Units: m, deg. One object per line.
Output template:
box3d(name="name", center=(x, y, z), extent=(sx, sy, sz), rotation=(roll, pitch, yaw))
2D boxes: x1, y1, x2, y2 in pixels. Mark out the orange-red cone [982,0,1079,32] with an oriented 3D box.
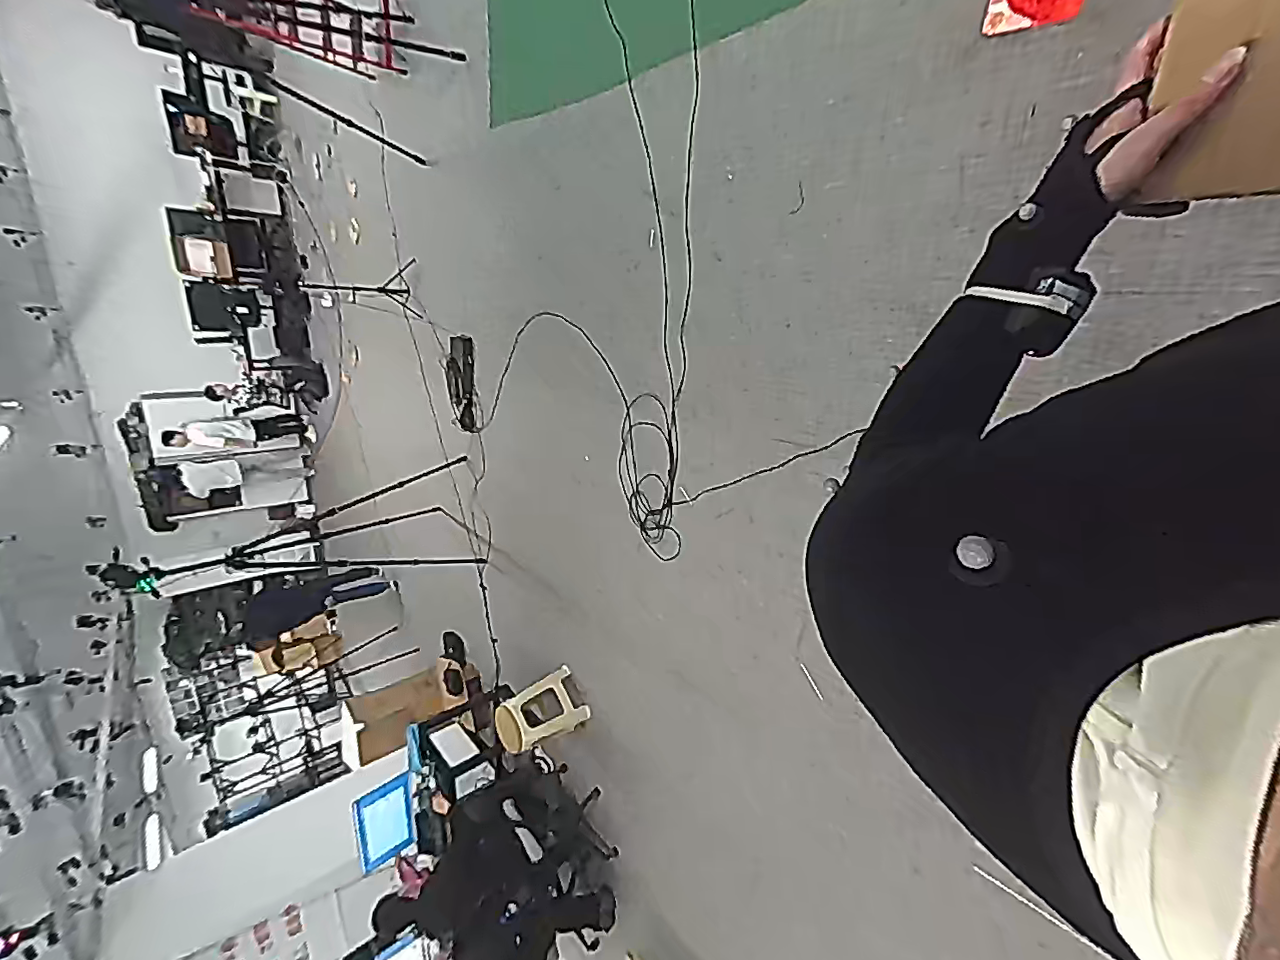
box3d(name="orange-red cone", center=(0.773, -1.114, 1.109), extent=(0.199, 0.360, 0.198), rotation=(30, 121, 43))
